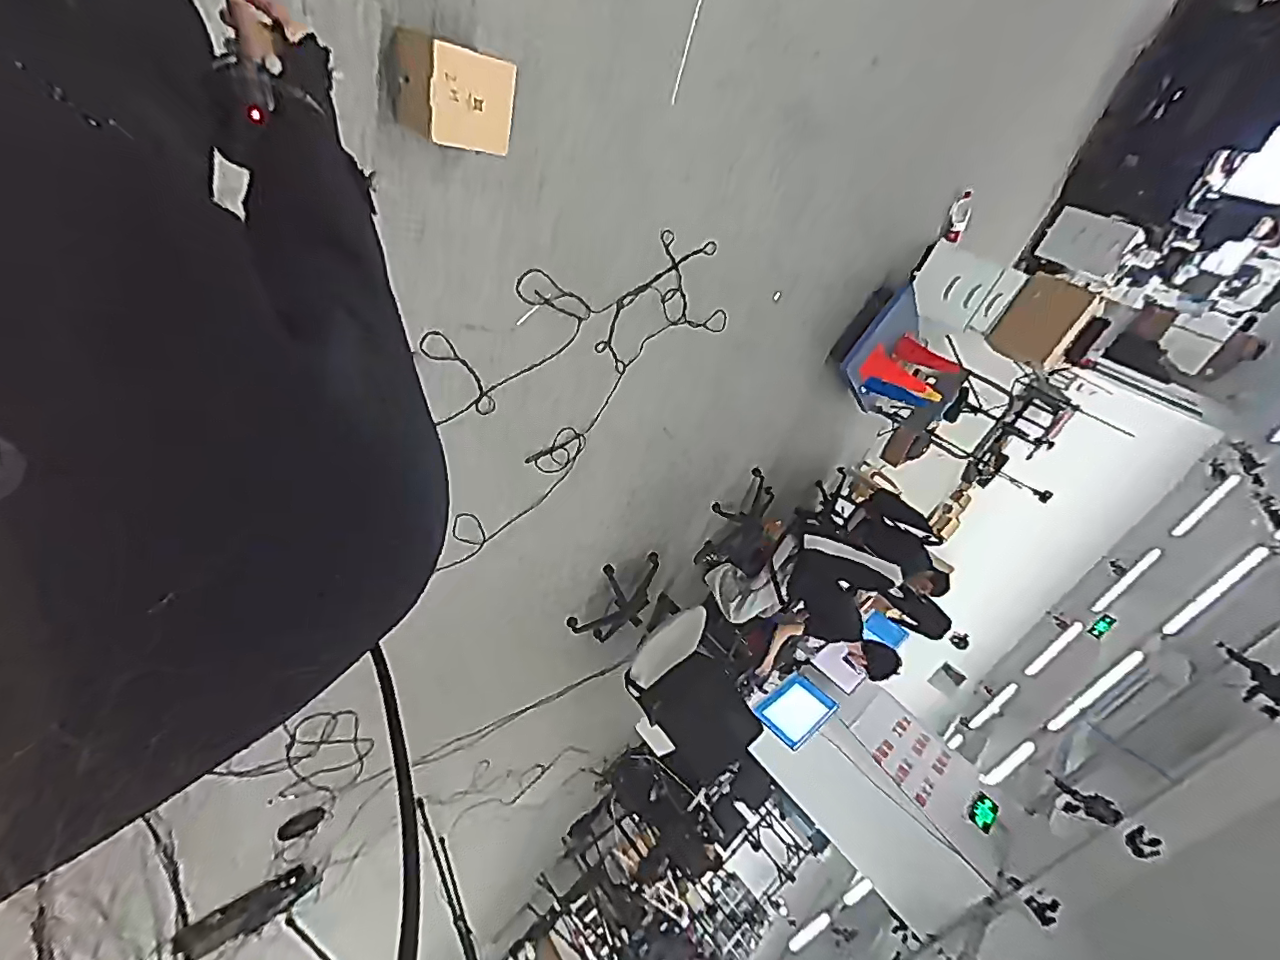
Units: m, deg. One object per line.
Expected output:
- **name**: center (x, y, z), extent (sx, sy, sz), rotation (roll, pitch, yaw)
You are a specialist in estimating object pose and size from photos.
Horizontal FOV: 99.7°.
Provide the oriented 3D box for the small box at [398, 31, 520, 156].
- **small box**: center (-0.374, -0.790, 1.109), extent (0.179, 0.176, 0.168), rotation (-17, 136, -41)
